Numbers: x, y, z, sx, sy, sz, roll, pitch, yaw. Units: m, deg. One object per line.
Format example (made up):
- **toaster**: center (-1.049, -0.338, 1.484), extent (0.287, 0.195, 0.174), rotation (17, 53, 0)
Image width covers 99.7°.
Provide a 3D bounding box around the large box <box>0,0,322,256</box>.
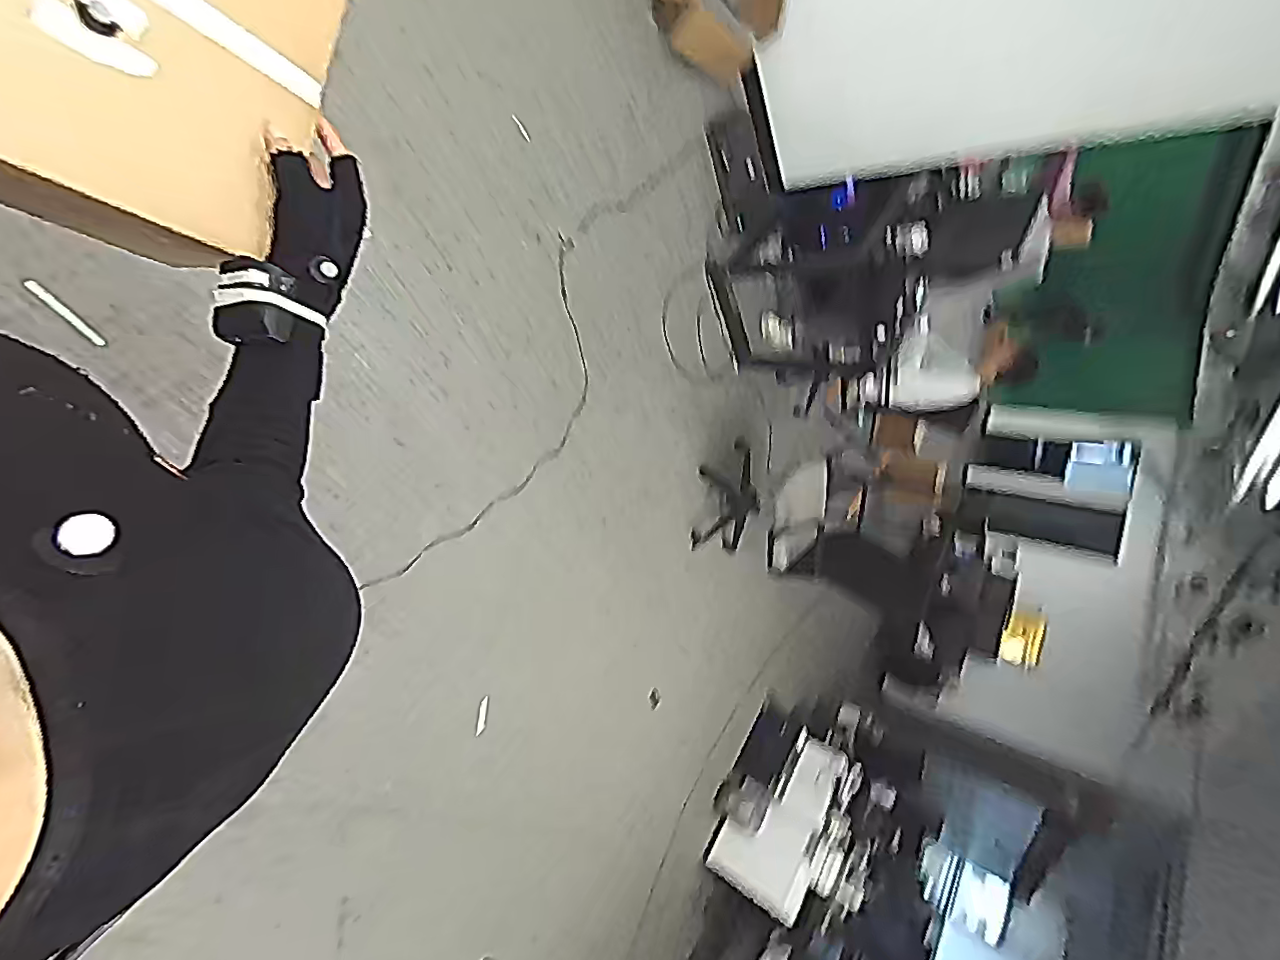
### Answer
- **large box**: center (-0.531, -0.406, 0.405), extent (0.408, 0.320, 0.320), rotation (13, 93, -55)
